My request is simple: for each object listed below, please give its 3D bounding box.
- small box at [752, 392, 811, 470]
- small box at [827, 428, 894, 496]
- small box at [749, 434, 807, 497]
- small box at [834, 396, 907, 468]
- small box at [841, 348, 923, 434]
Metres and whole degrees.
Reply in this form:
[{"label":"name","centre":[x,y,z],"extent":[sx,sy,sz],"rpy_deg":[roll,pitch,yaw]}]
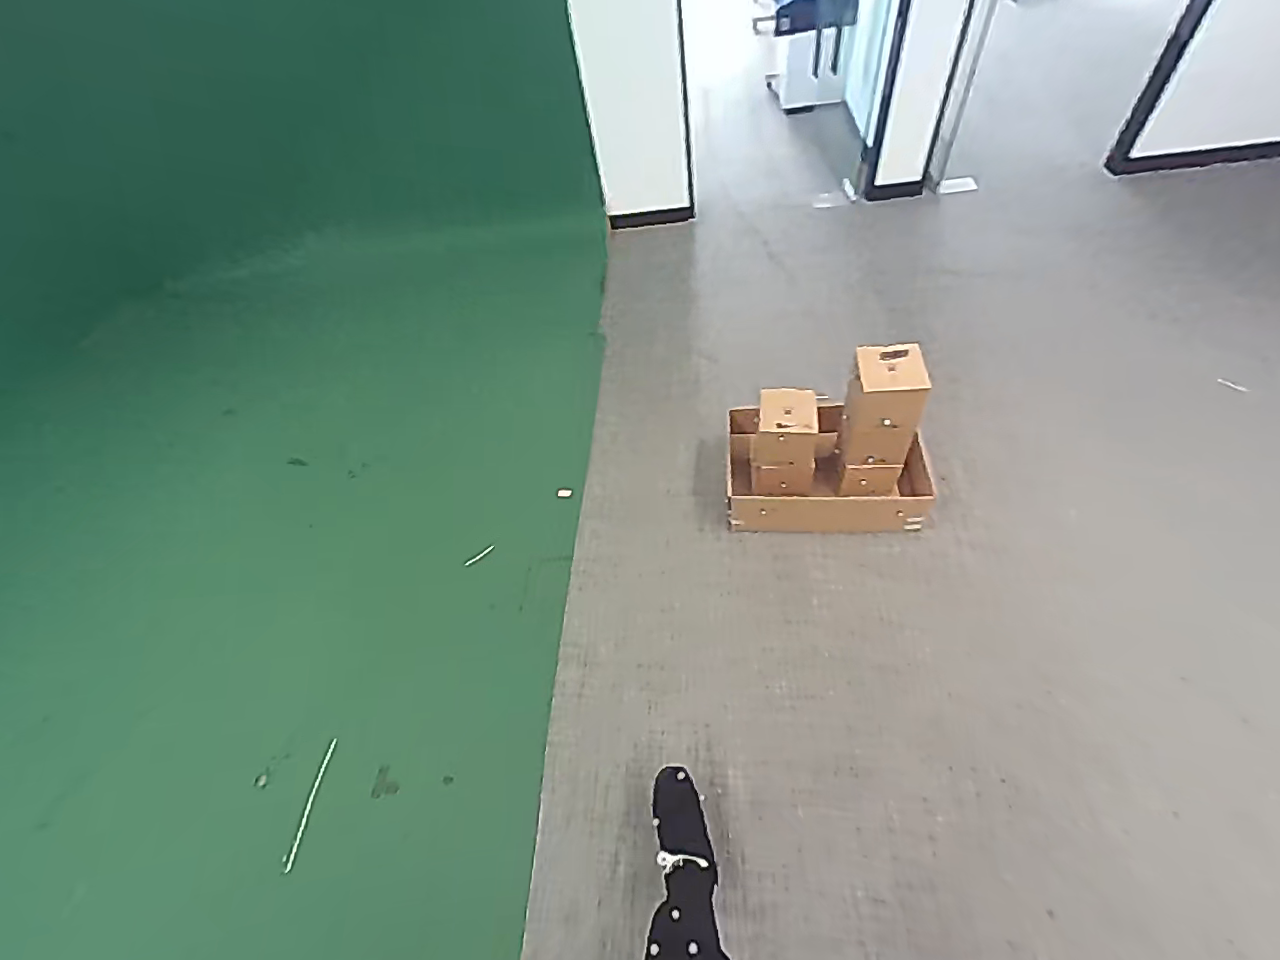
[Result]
[{"label":"small box","centre":[0.437,-0.154,1.689],"extent":[0.168,0.176,0.179],"rpy_deg":[2,53,11]},{"label":"small box","centre":[0.720,-0.057,1.784],"extent":[0.168,0.176,0.179],"rpy_deg":[-1,54,8]},{"label":"small box","centre":[0.460,-0.055,1.819],"extent":[0.168,0.176,0.179],"rpy_deg":[-1,54,6]},{"label":"small box","centre":[0.697,-0.156,1.656],"extent":[0.168,0.176,0.179],"rpy_deg":[-1,54,11]},{"label":"small box","centre":[0.672,-0.249,1.523],"extent":[0.168,0.176,0.179],"rpy_deg":[-2,54,10]}]
